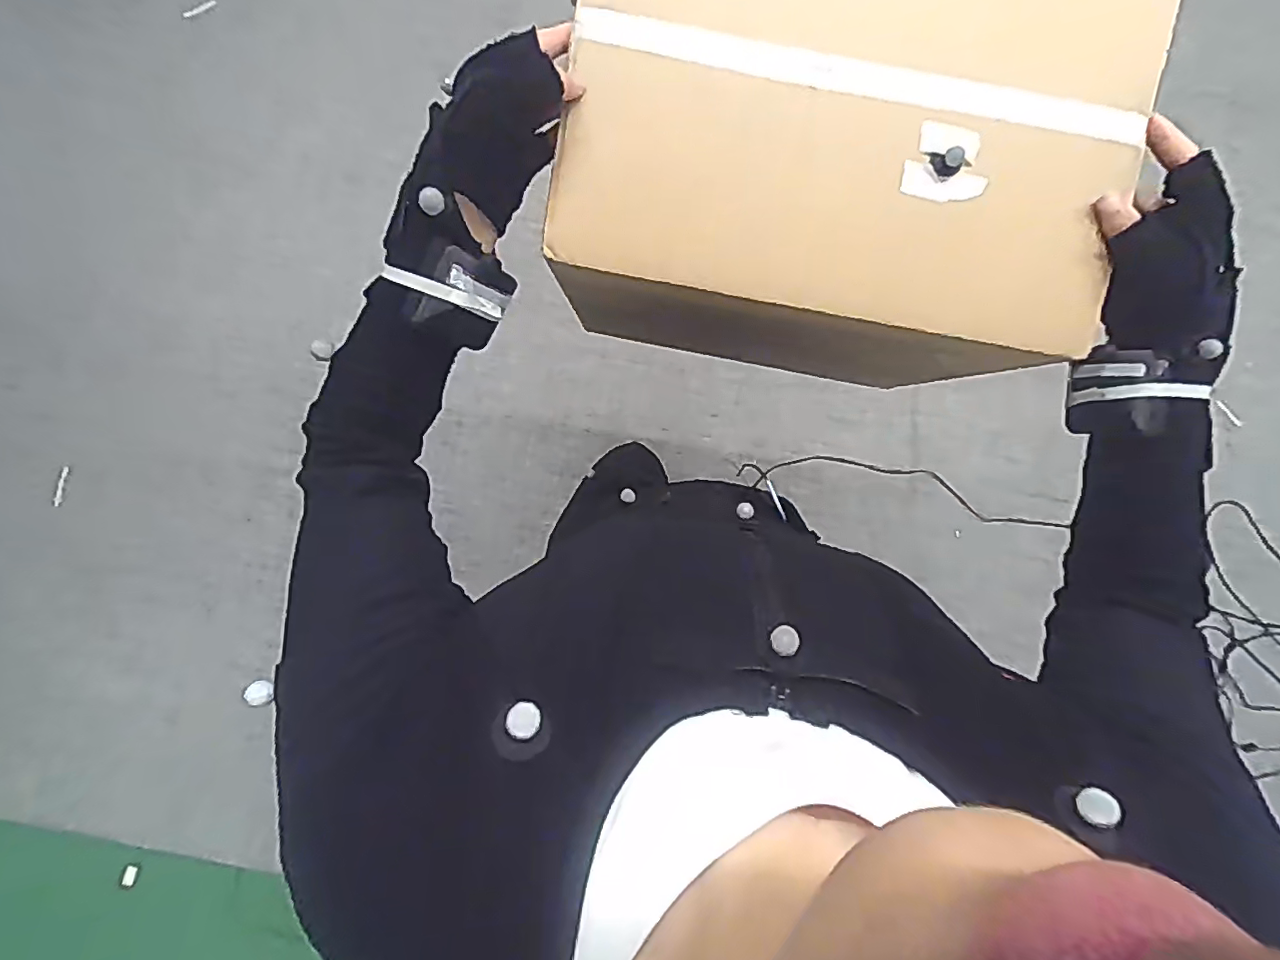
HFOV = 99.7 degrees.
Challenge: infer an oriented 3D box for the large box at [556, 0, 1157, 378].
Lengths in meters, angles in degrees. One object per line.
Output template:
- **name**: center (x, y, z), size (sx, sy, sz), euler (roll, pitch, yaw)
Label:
- **large box**: center (0.153, -0.297, 0.536), size (0.408, 0.320, 0.320), euler (10, 96, -1)
